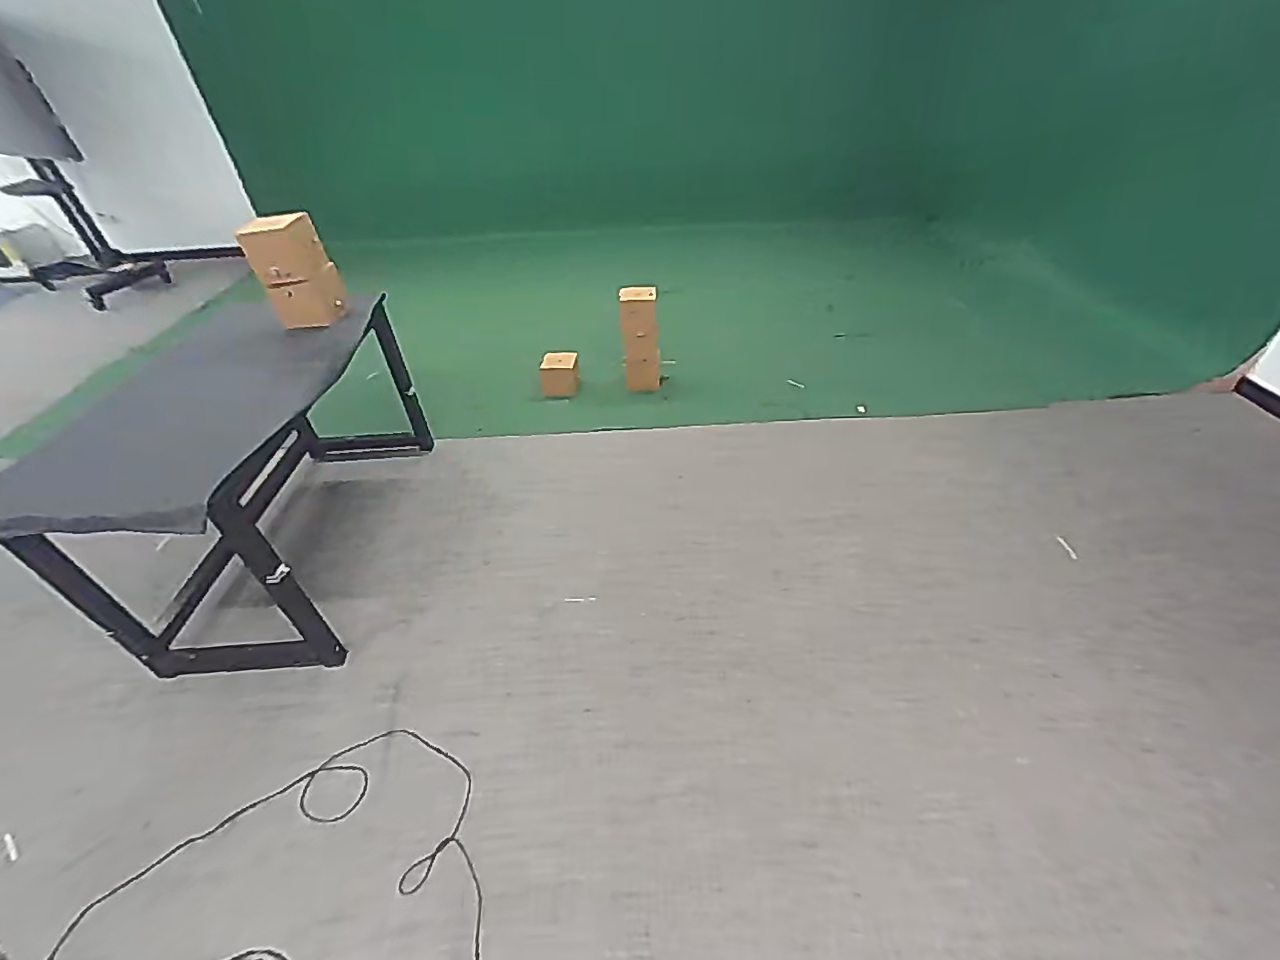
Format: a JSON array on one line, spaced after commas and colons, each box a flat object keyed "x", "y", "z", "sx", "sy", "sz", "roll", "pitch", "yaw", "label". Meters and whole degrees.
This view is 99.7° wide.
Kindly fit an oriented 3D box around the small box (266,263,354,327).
[{"x": -1.163, "y": -0.653, "z": 1.917, "sx": 0.179, "sy": 0.176, "sz": 0.168, "roll": -1, "pitch": 41, "yaw": 5, "label": "small box"}]

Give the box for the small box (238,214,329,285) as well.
[{"x": -1.175, "y": -0.769, "z": 1.803, "sx": 0.168, "sy": 0.176, "sz": 0.179, "roll": -7, "pitch": 42, "yaw": 1, "label": "small box"}]

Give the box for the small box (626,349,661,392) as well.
[{"x": 0.022, "y": -0.586, "z": 2.897, "sx": 0.179, "sy": 0.176, "sz": 0.168, "roll": -1, "pitch": 41, "yaw": 3, "label": "small box"}]

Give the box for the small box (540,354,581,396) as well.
[{"x": -0.420, "y": -0.558, "z": 2.889, "sx": 0.179, "sy": 0.176, "sz": 0.168, "roll": 1, "pitch": 40, "yaw": 5, "label": "small box"}]

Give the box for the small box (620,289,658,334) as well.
[{"x": -0.004, "y": -0.836, "z": 2.685, "sx": 0.179, "sy": 0.176, "sz": 0.168, "roll": -2, "pitch": 40, "yaw": 3, "label": "small box"}]
